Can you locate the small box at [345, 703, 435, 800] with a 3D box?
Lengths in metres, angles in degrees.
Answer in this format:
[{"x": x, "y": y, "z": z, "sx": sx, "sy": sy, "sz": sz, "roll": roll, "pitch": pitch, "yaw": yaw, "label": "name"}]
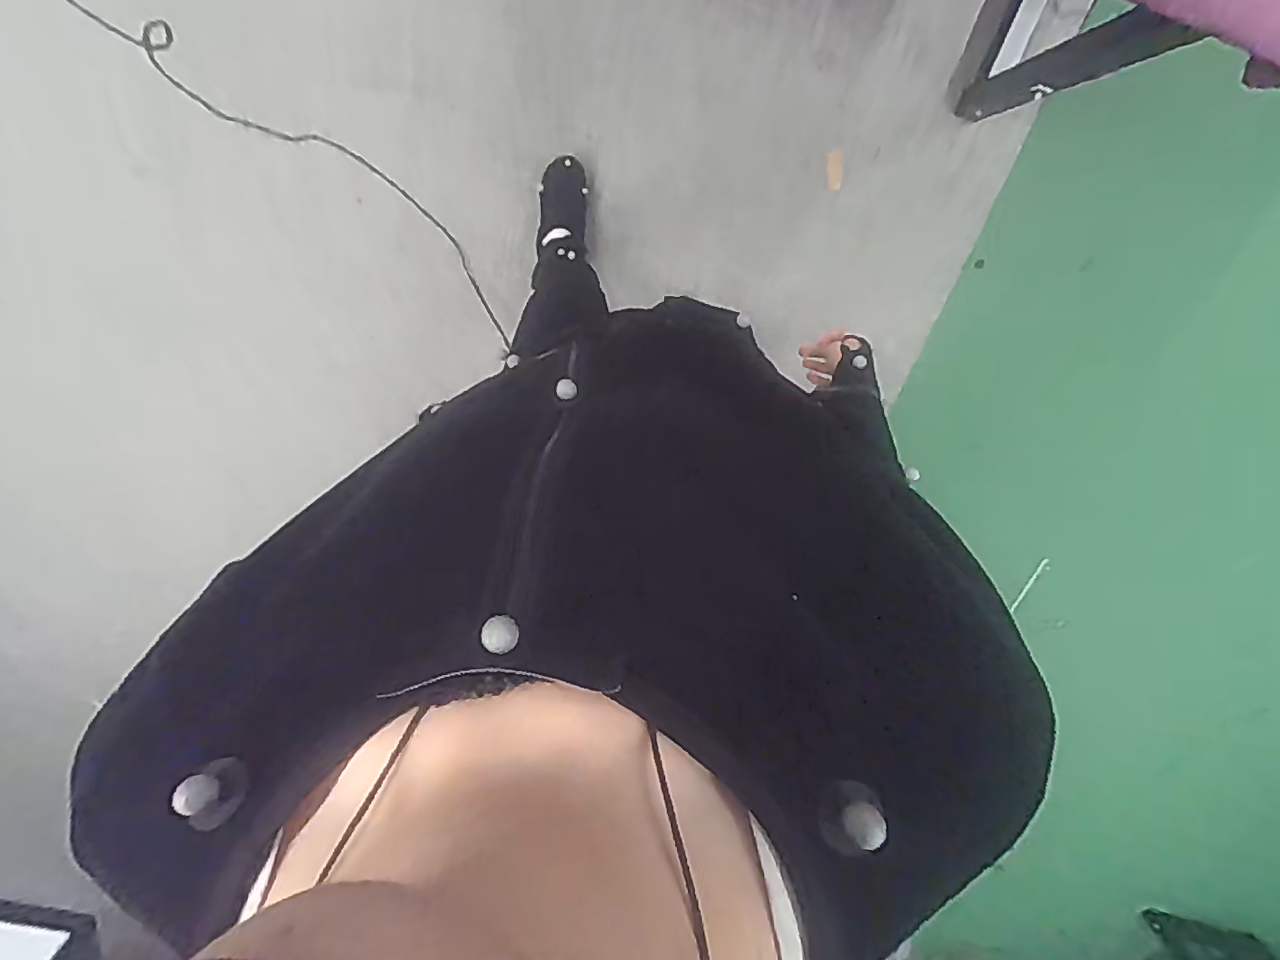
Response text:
[{"x": -0.764, "y": 0.835, "z": 1.670, "sx": 0.168, "sy": 0.176, "sz": 0.179, "roll": 34, "pitch": 111, "yaw": -12, "label": "small box"}]
